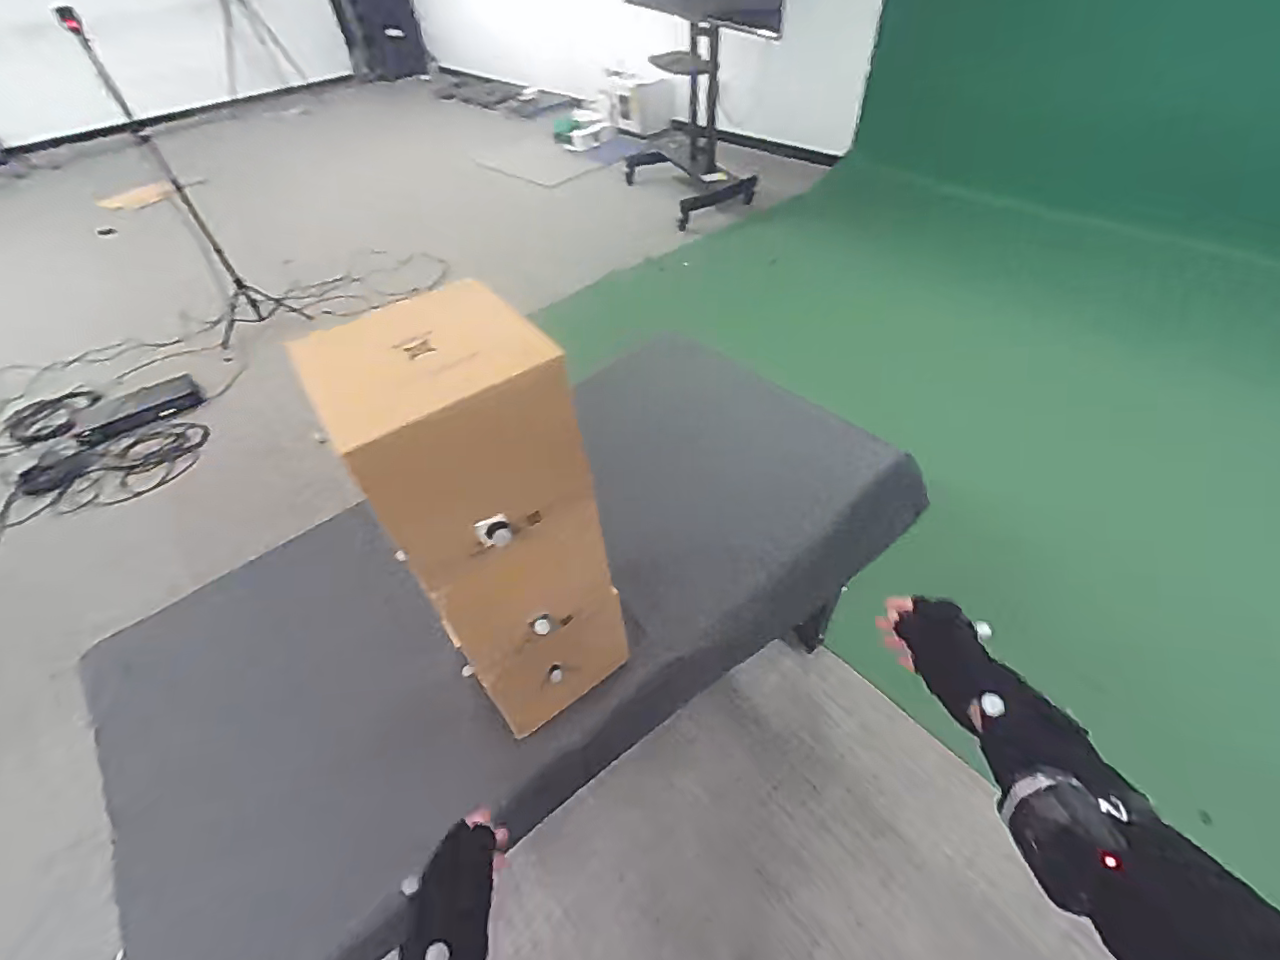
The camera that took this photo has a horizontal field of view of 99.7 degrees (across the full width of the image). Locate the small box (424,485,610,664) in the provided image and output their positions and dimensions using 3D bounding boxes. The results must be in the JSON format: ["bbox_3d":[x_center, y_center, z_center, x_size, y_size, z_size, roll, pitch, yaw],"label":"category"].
[{"bbox_3d":[-0.153,0.061,0.587,0.168,0.176,0.179,-31,49,-22],"label":"small box"}]

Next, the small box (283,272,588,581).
[{"bbox_3d":[-0.165,-0.048,0.469,0.168,0.176,0.179,-31,52,-19],"label":"small box"}]

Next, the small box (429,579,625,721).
[{"bbox_3d":[-0.137,0.176,0.704,0.179,0.176,0.168,-32,51,-21],"label":"small box"}]
